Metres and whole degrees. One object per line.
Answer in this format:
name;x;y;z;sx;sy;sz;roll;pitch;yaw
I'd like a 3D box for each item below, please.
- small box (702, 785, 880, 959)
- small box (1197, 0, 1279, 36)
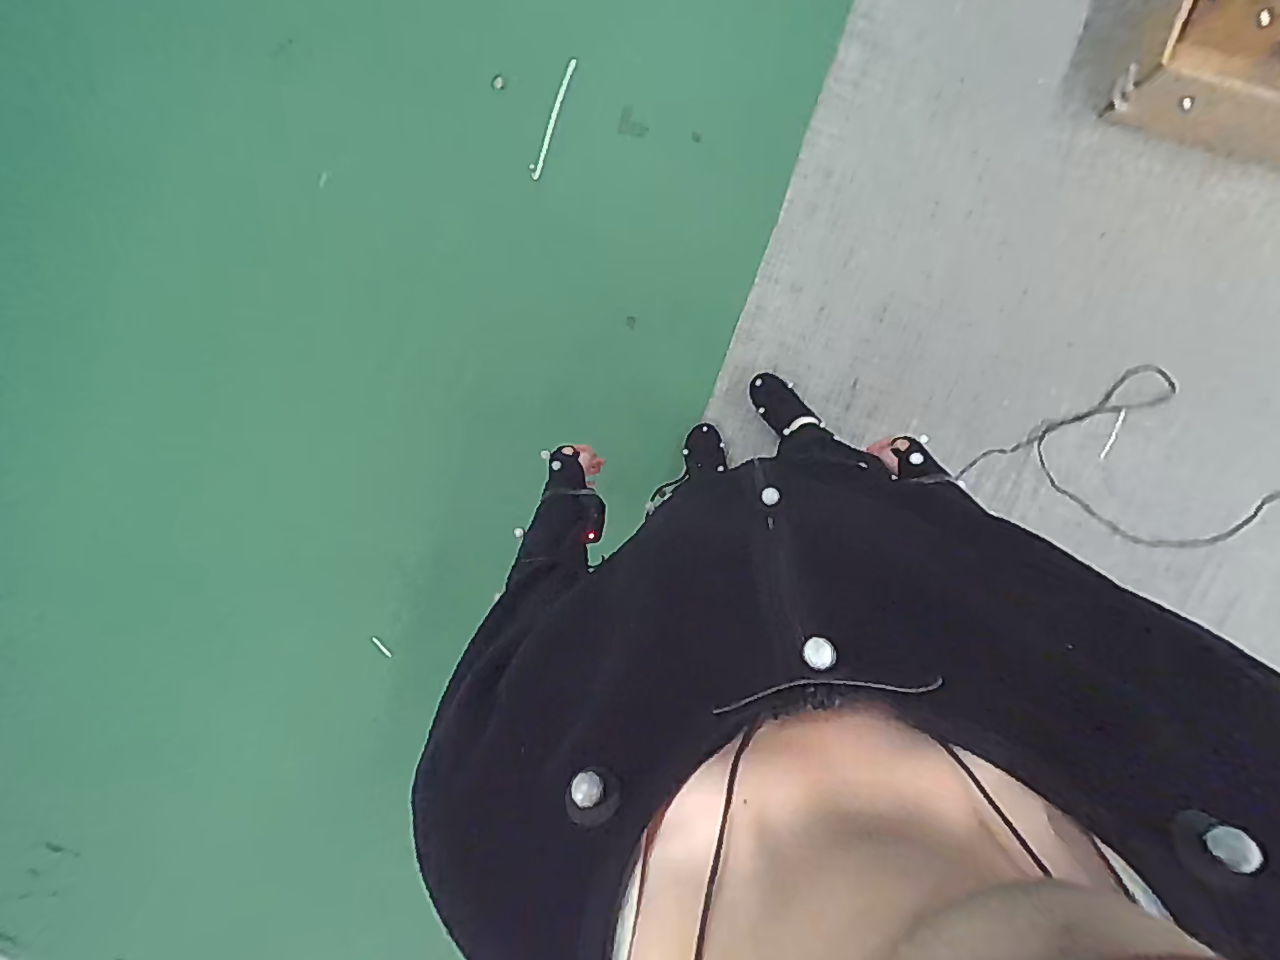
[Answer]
small box;0.194;0.565;0.750;0.179;0.176;0.168;19;97;4
small box;1.315;-1.054;1.099;0.179;0.176;0.168;15;100;4
